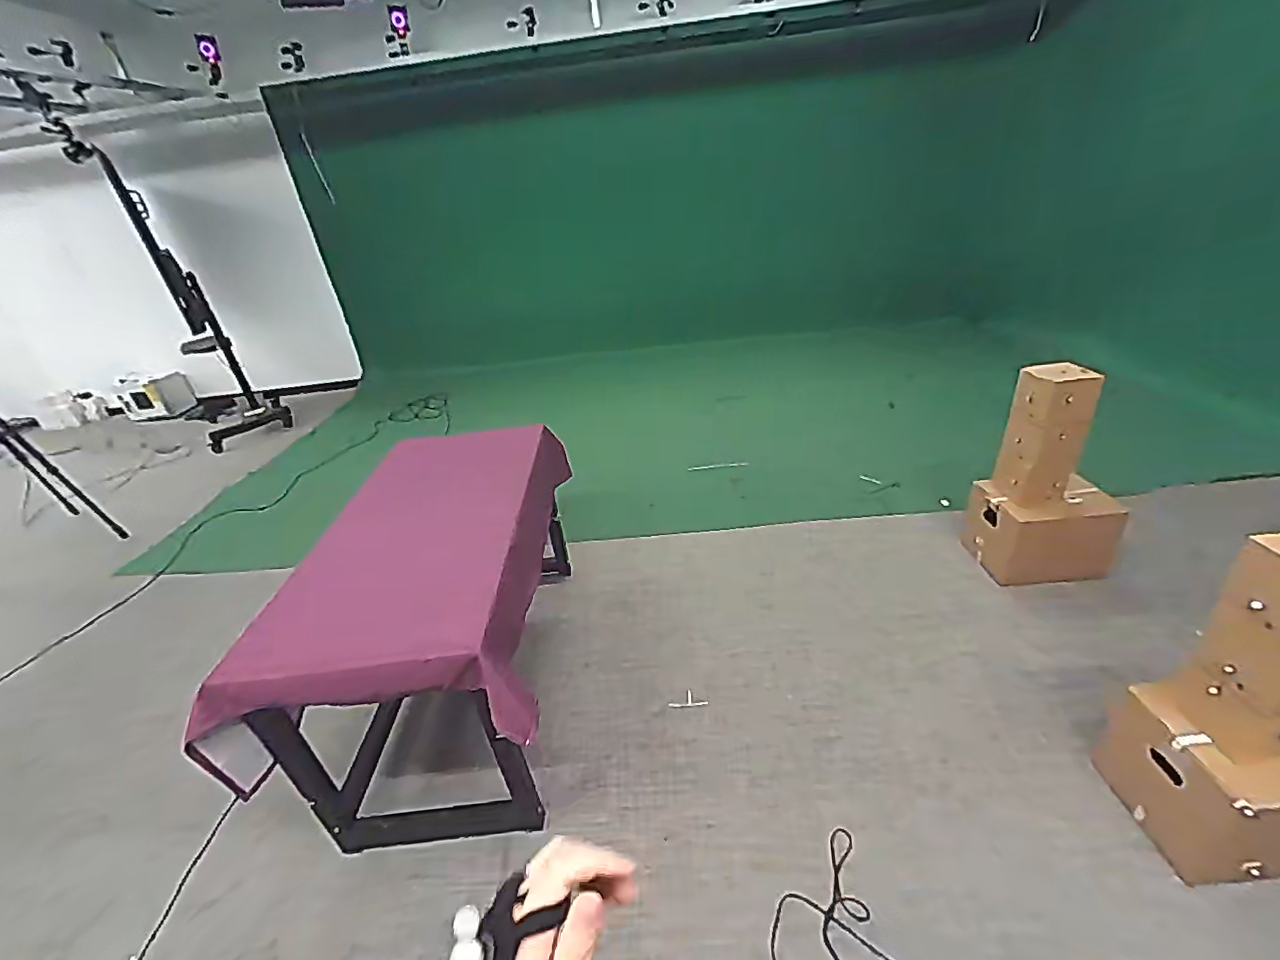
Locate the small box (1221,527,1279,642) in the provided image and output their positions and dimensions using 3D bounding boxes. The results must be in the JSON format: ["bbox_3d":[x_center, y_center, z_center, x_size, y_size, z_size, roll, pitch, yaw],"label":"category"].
[{"bbox_3d":[1.305,0.202,1.042,0.179,0.176,0.168,-7,29,5],"label":"small box"}]

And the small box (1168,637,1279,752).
[{"bbox_3d":[1.357,0.483,1.207,0.168,0.176,0.179,-7,28,1],"label":"small box"}]

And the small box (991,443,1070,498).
[{"bbox_3d":[1.494,-0.039,2.079,0.168,0.176,0.179,-6,29,1],"label":"small box"}]

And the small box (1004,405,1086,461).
[{"bbox_3d":[1.483,-0.180,1.997,0.179,0.176,0.168,-8,30,-3],"label":"small box"}]

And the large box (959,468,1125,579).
[{"bbox_3d":[1.591,0.173,2.181,0.408,0.320,0.320,-5,30,2],"label":"large box"}]

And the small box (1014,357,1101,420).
[{"bbox_3d":[1.464,-0.322,1.915,0.179,0.176,0.168,-8,30,0],"label":"small box"}]
